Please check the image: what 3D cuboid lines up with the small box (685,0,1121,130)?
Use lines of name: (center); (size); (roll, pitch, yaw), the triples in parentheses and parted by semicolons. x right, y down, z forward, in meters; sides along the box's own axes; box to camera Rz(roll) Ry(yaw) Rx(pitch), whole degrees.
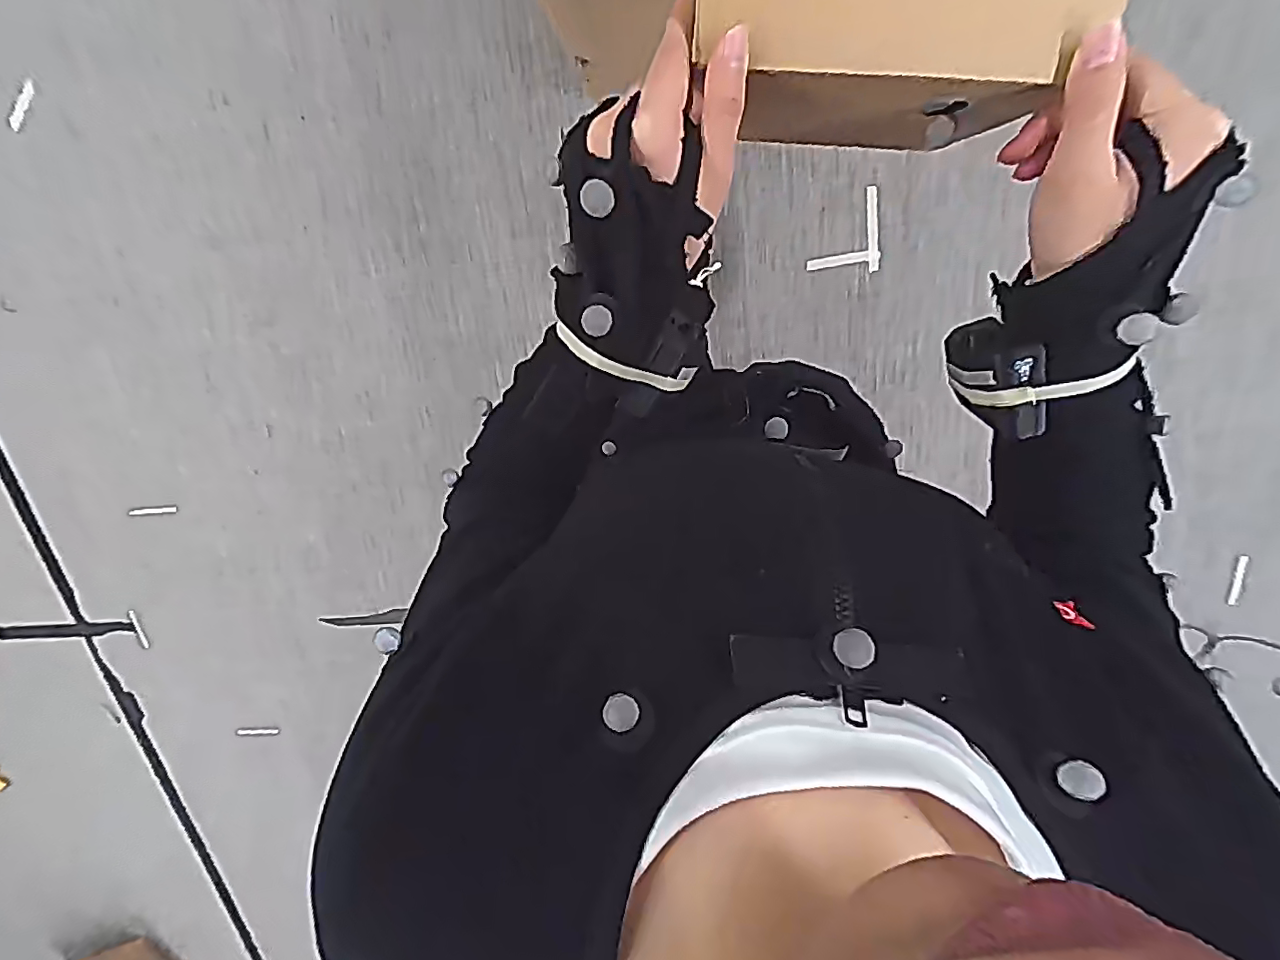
small box: (0.118, -0.289, 0.269); (0.179, 0.176, 0.168); (5, 113, 3)
